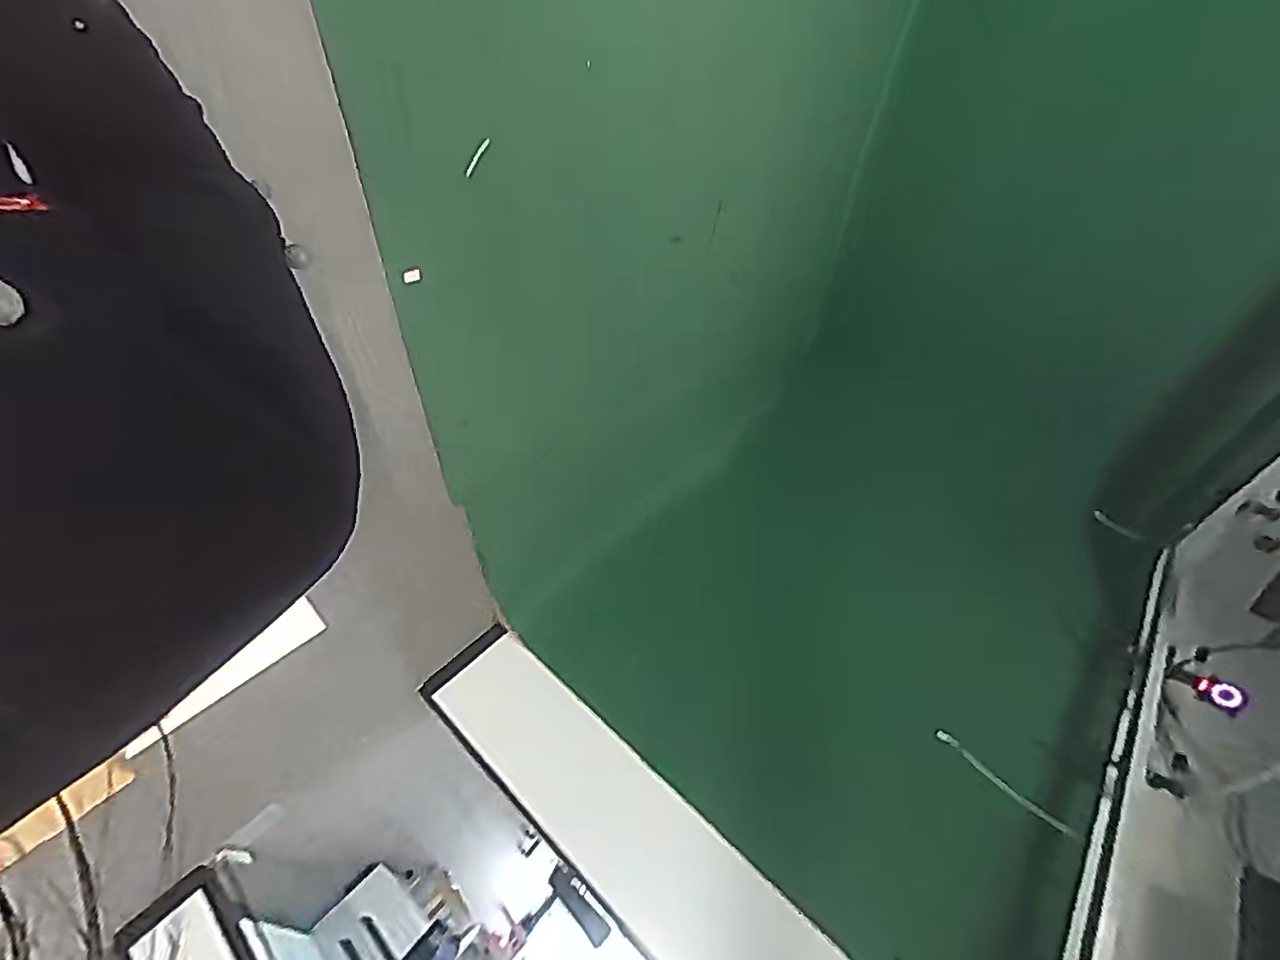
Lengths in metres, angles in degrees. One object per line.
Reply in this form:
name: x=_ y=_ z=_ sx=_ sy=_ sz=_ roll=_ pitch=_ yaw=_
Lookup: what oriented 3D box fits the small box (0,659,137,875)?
small box: x=-0.834 y=0.372 z=0.713 sx=0.168 sy=0.176 sz=0.179 roll=-38 pitch=149 yaw=-33
